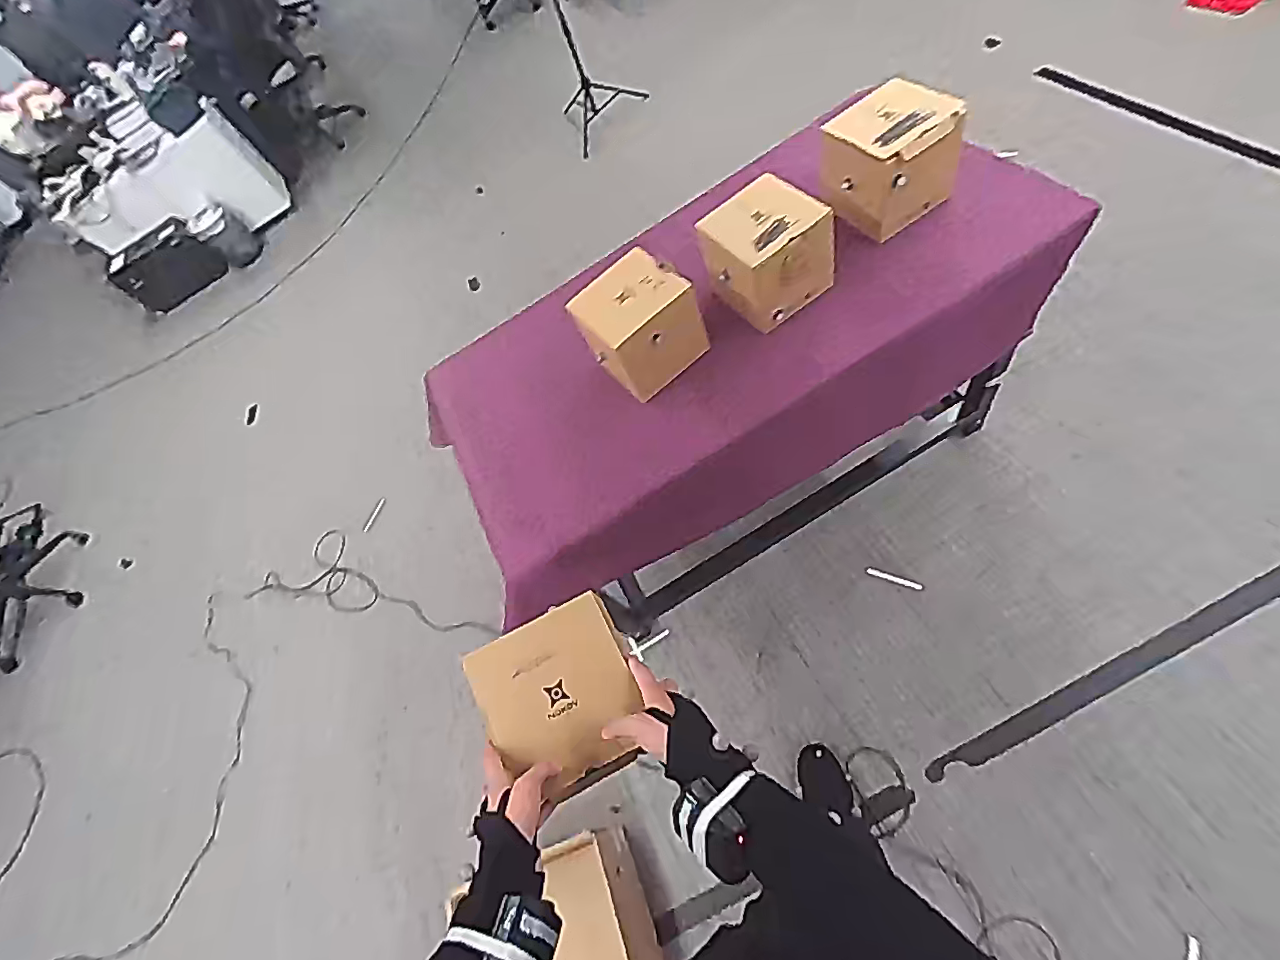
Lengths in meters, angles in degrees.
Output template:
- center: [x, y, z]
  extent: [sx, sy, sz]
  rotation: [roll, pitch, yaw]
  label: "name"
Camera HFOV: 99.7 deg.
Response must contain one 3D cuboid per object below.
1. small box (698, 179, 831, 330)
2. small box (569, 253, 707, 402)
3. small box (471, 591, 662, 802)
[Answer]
- center: [0.236, -0.407, 1.005]
  extent: [0.168, 0.176, 0.179]
  rotation: [-36, 57, -1]
  label: "small box"
- center: [0.004, -0.280, 1.020]
  extent: [0.179, 0.176, 0.168]
  rotation: [-40, 58, -4]
  label: "small box"
- center: [-0.082, 0.254, 0.673]
  extent: [0.168, 0.176, 0.179]
  rotation: [-24, 76, -7]
  label: "small box"
